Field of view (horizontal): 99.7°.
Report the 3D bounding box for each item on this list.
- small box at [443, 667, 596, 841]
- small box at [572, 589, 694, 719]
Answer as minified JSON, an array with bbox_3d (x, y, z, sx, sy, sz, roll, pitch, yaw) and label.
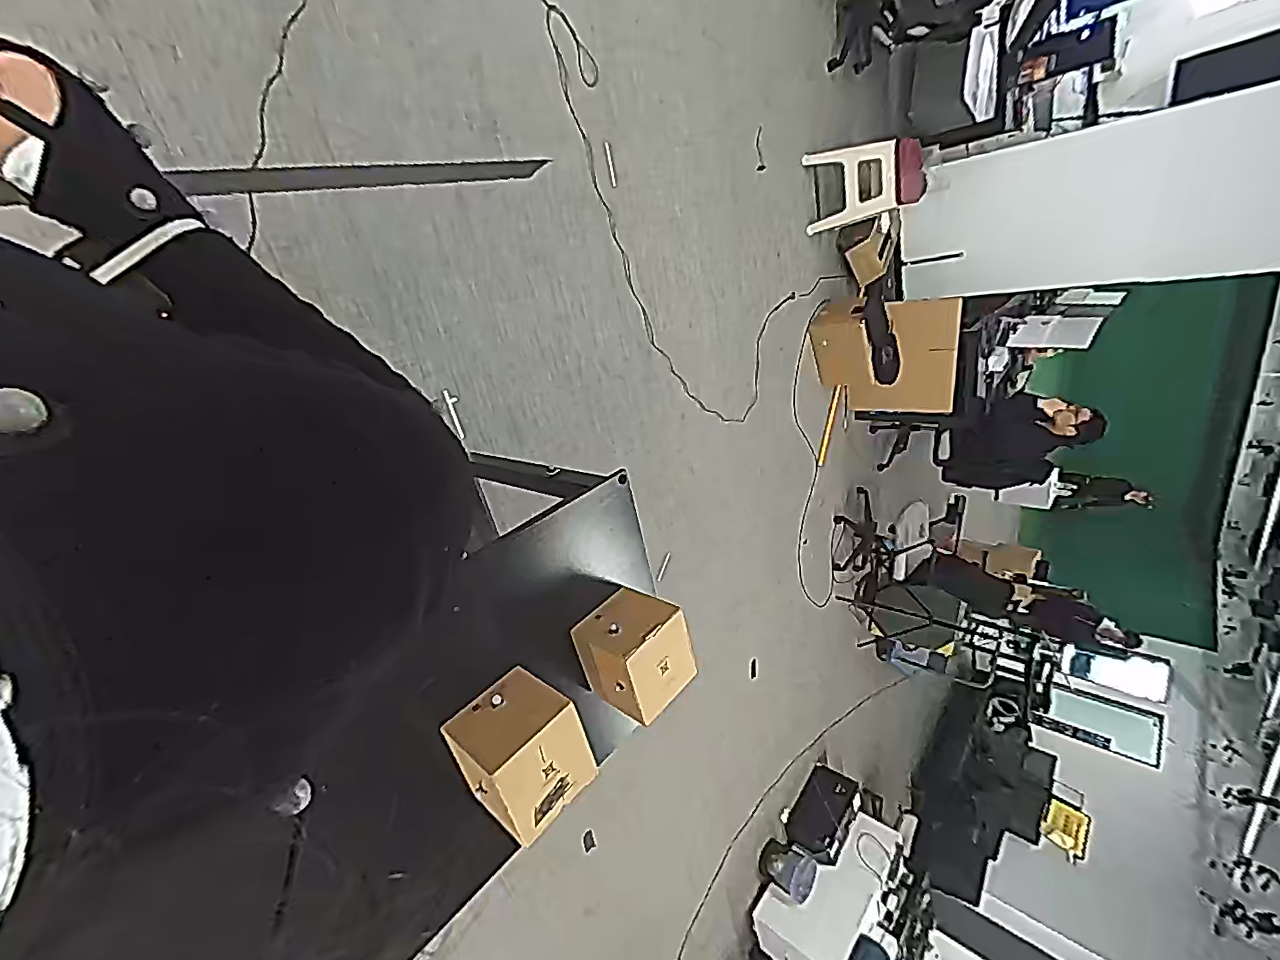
[{"bbox_3d":[-0.207,0.459,0.935,0.168,0.176,0.179,-34,119,-38],"label":"small box"},{"bbox_3d":[-0.016,0.345,1.116,0.168,0.176,0.179,-34,121,-36],"label":"small box"}]
